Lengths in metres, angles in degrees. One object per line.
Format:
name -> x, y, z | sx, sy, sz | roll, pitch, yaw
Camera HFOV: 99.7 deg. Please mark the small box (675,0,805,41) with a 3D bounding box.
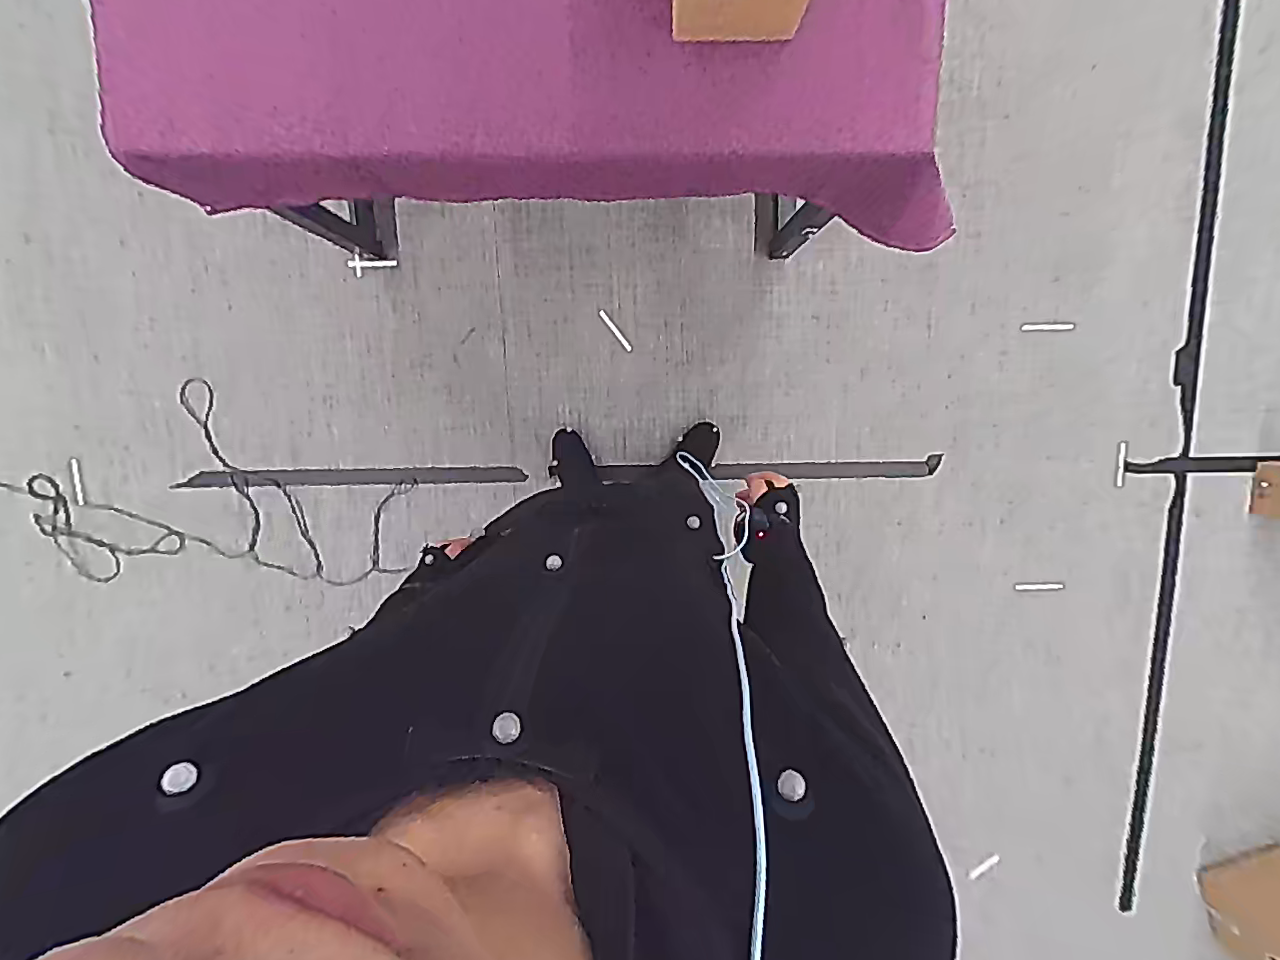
small box -> 0.136, -0.707, 0.696 | 0.179, 0.176, 0.168 | -2, 99, -2
